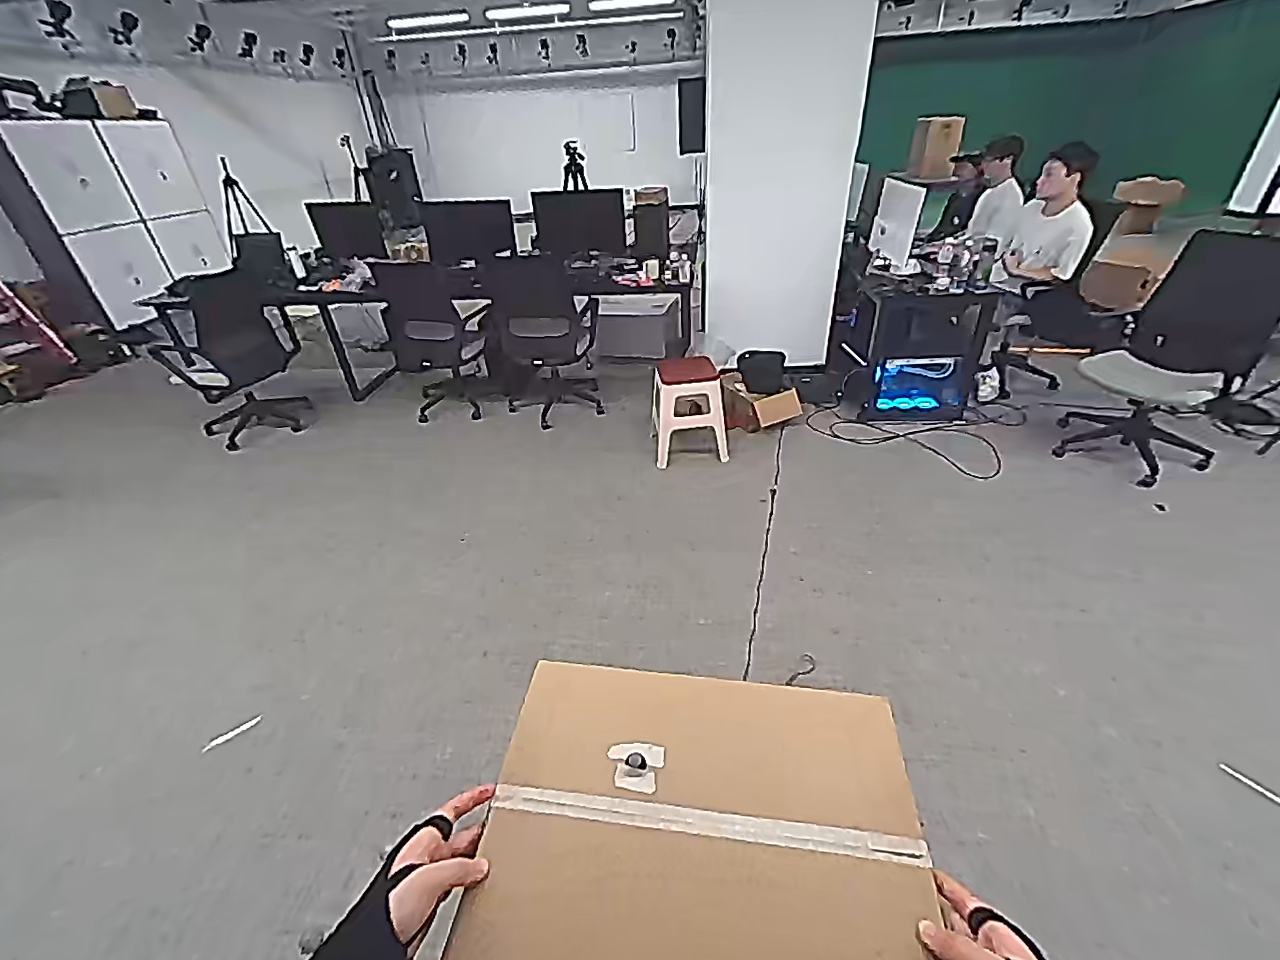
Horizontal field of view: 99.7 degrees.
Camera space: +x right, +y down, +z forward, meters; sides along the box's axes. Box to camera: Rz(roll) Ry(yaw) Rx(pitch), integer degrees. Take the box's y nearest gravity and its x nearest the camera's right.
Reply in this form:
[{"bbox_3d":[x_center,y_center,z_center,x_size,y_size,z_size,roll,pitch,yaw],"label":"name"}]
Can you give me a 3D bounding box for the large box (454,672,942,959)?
[{"bbox_3d":[0.064,0.451,0.609,0.408,0.320,0.320,2,36,7],"label":"large box"}]
